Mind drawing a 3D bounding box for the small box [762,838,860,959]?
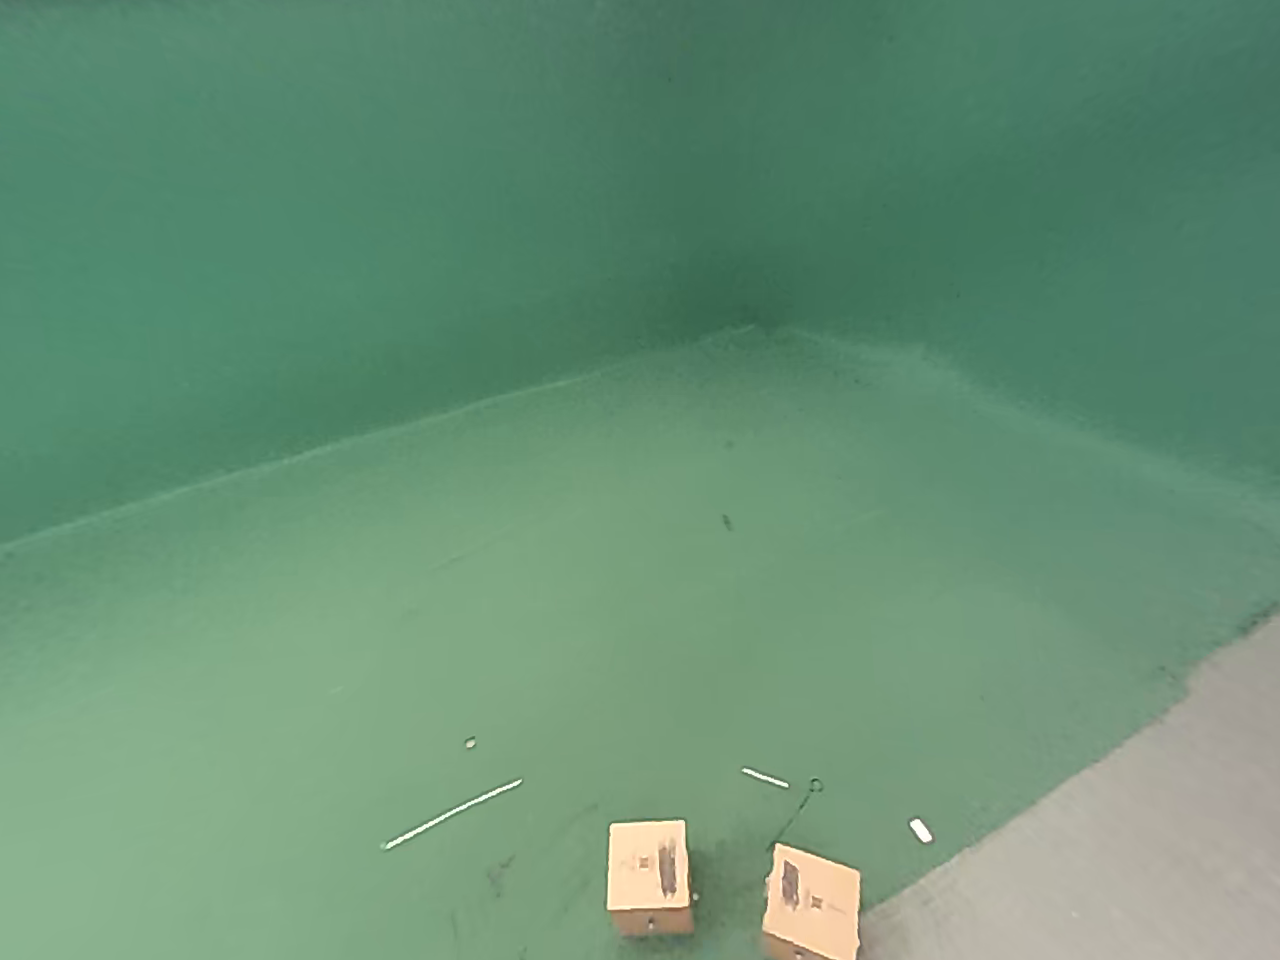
[{"bbox_3d":[0.360,0.909,1.146,0.179,0.176,0.168,8,39,21],"label":"small box"}]
